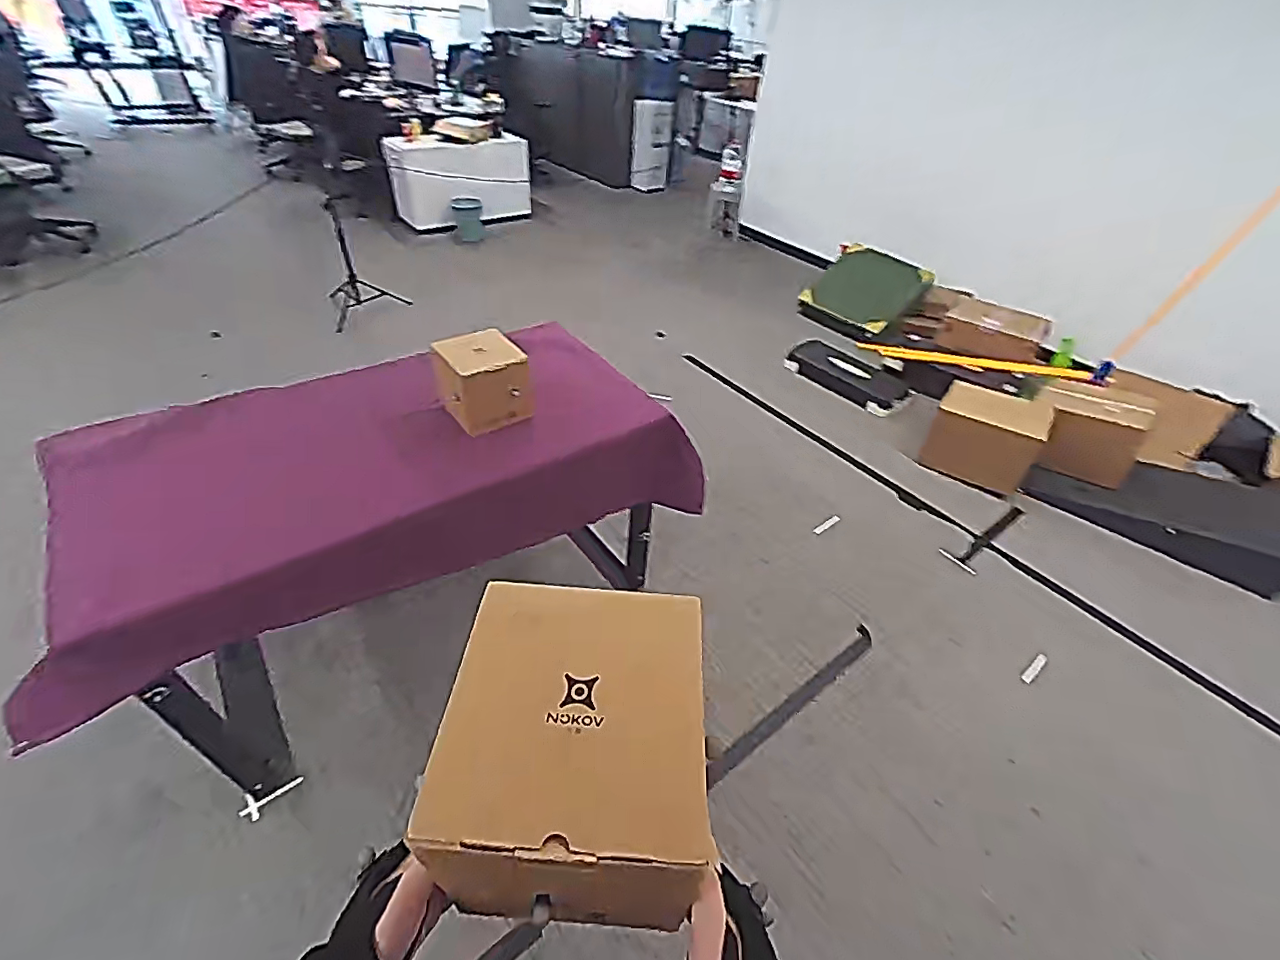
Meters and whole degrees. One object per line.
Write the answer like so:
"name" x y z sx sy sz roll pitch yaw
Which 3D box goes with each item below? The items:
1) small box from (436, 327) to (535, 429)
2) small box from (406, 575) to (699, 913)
"small box" -0.365 -0.240 1.298 0.168 0.176 0.179 -24 49 -30
"small box" -0.049 0.197 0.410 0.168 0.176 0.179 4 43 0
